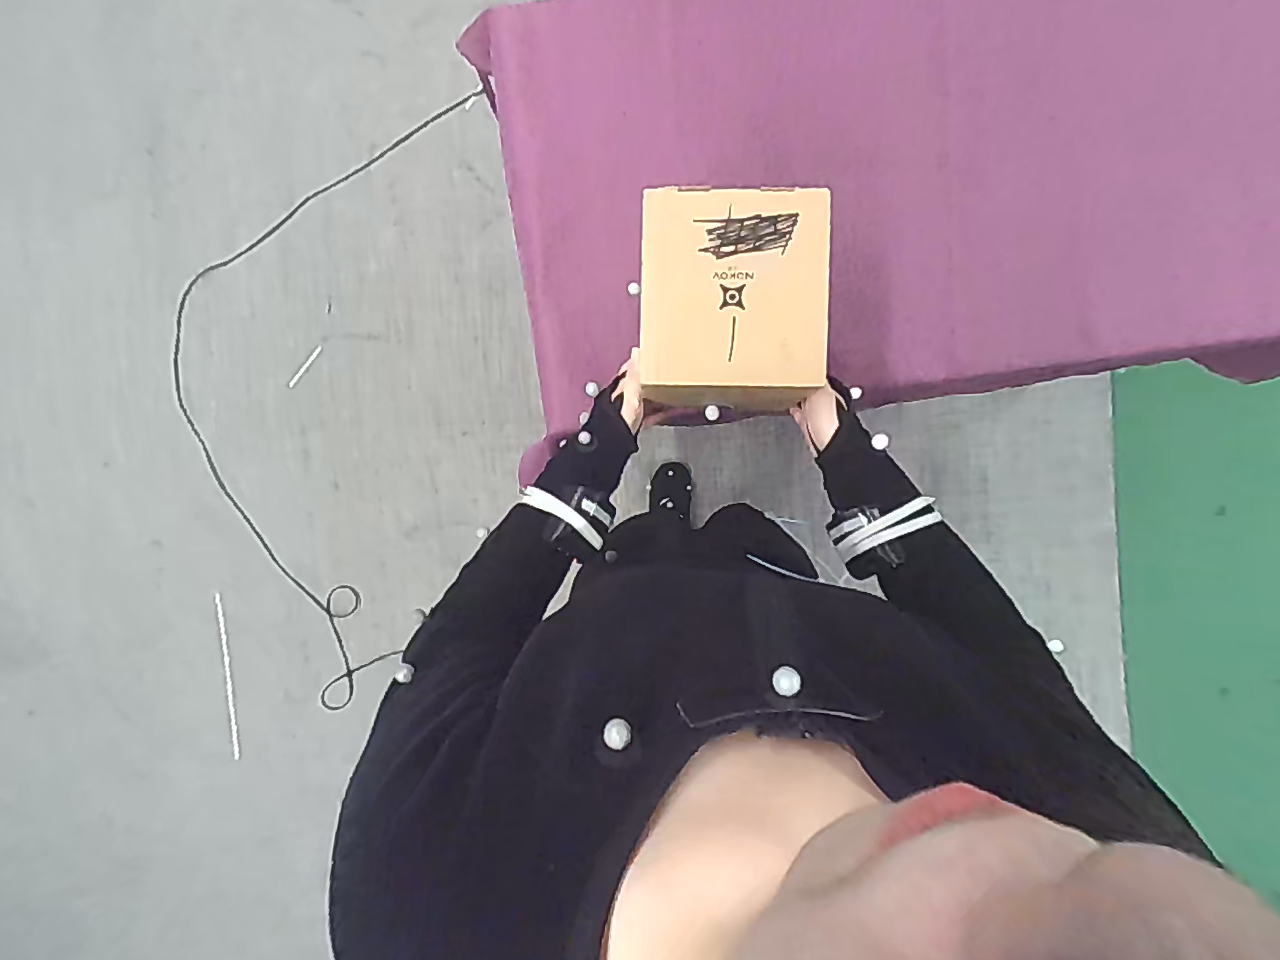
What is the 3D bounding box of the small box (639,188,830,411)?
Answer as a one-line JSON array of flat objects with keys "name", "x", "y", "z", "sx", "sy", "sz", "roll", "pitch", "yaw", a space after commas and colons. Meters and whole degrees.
[{"name": "small box", "x": 0.085, "y": -0.170, "z": 0.556, "sx": 0.168, "sy": 0.176, "sz": 0.179, "roll": 1, "pitch": 91, "yaw": 3}]
